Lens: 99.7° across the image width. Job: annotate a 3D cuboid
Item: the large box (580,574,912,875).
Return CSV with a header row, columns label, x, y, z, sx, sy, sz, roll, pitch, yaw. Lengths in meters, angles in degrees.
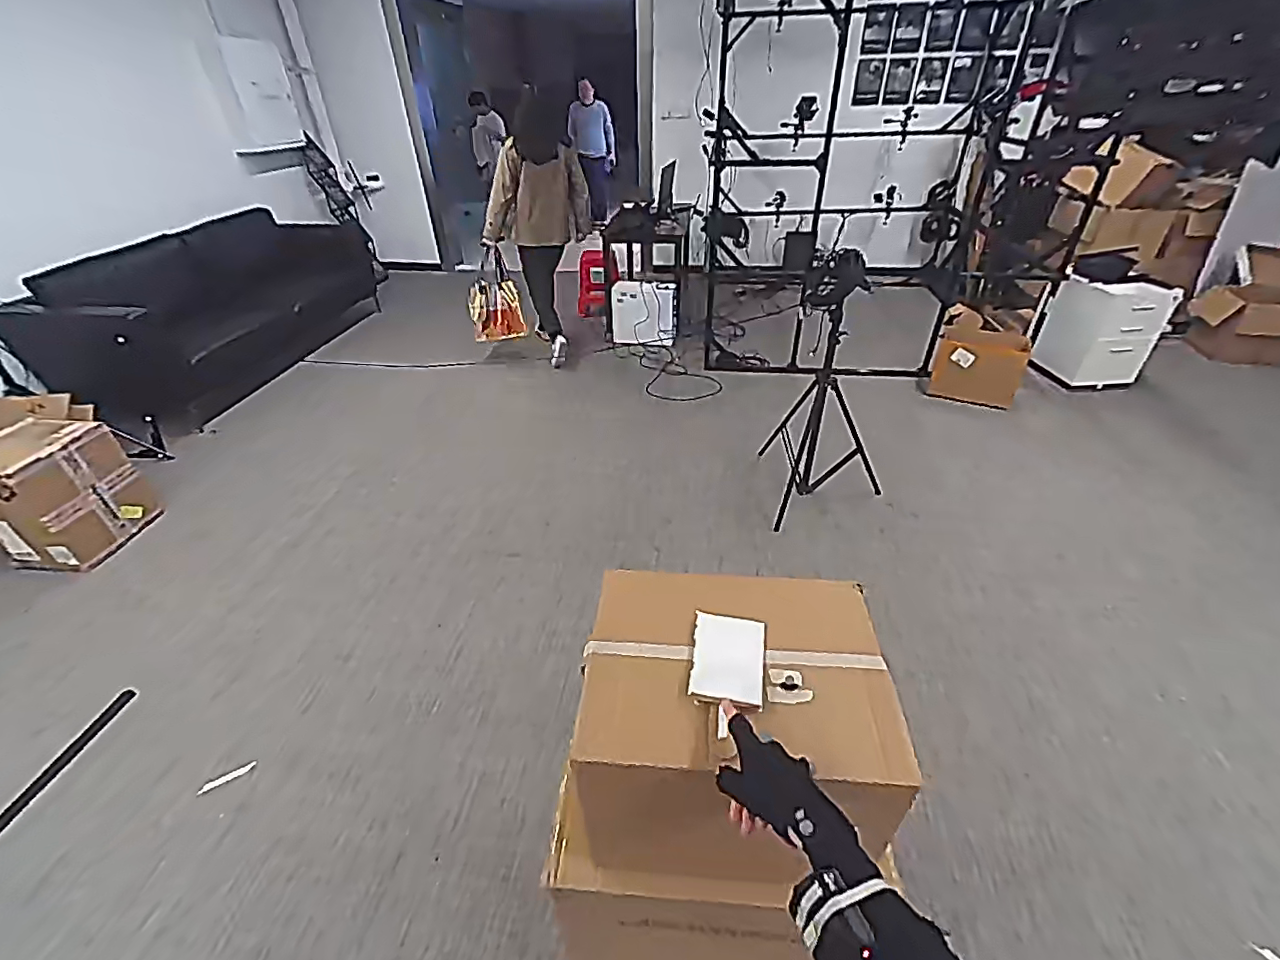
label,x,y,z,sx,sy,sz,roll,pitch,yaw
large box,0.133,0.372,0.847,0.408,0.320,0.320,2,36,4
